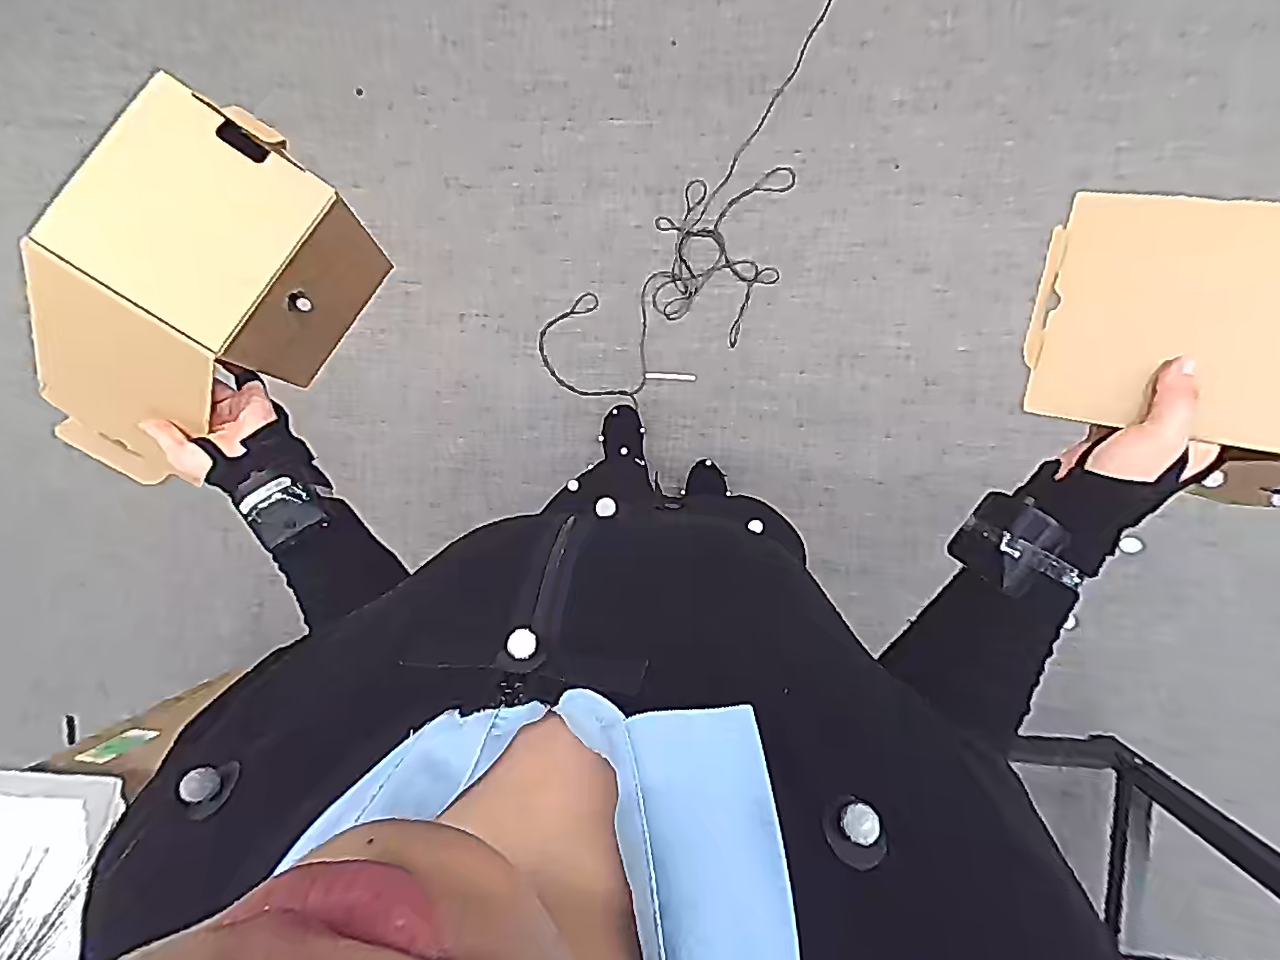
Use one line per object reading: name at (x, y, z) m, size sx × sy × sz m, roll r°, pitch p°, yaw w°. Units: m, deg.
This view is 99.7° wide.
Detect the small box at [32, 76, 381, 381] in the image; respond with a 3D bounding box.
small box at (-0.389, -0.220, 0.530) m, size 0.168 × 0.176 × 0.179 m, roll 35°, pitch 83°, yaw -8°
